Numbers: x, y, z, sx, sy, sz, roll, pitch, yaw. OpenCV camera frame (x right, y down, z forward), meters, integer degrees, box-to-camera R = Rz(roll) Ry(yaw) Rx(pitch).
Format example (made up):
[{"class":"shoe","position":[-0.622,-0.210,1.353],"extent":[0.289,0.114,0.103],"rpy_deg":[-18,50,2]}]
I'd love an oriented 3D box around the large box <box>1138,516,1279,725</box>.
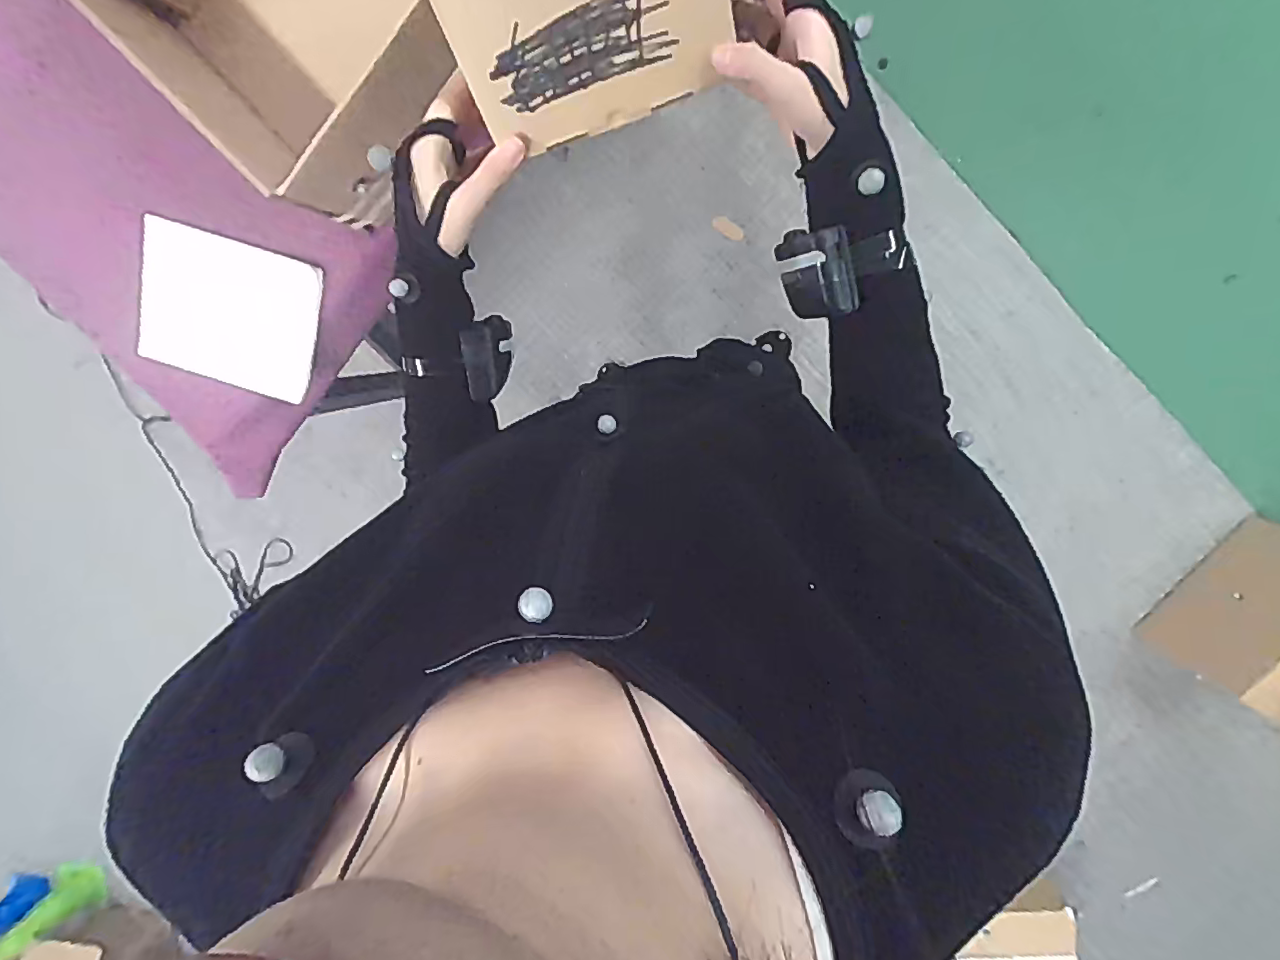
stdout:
[{"class":"large box","position":[1.552,0.360,1.279],"extent":[0.320,0.320,0.408],"rpy_deg":[30,104,-3]}]
